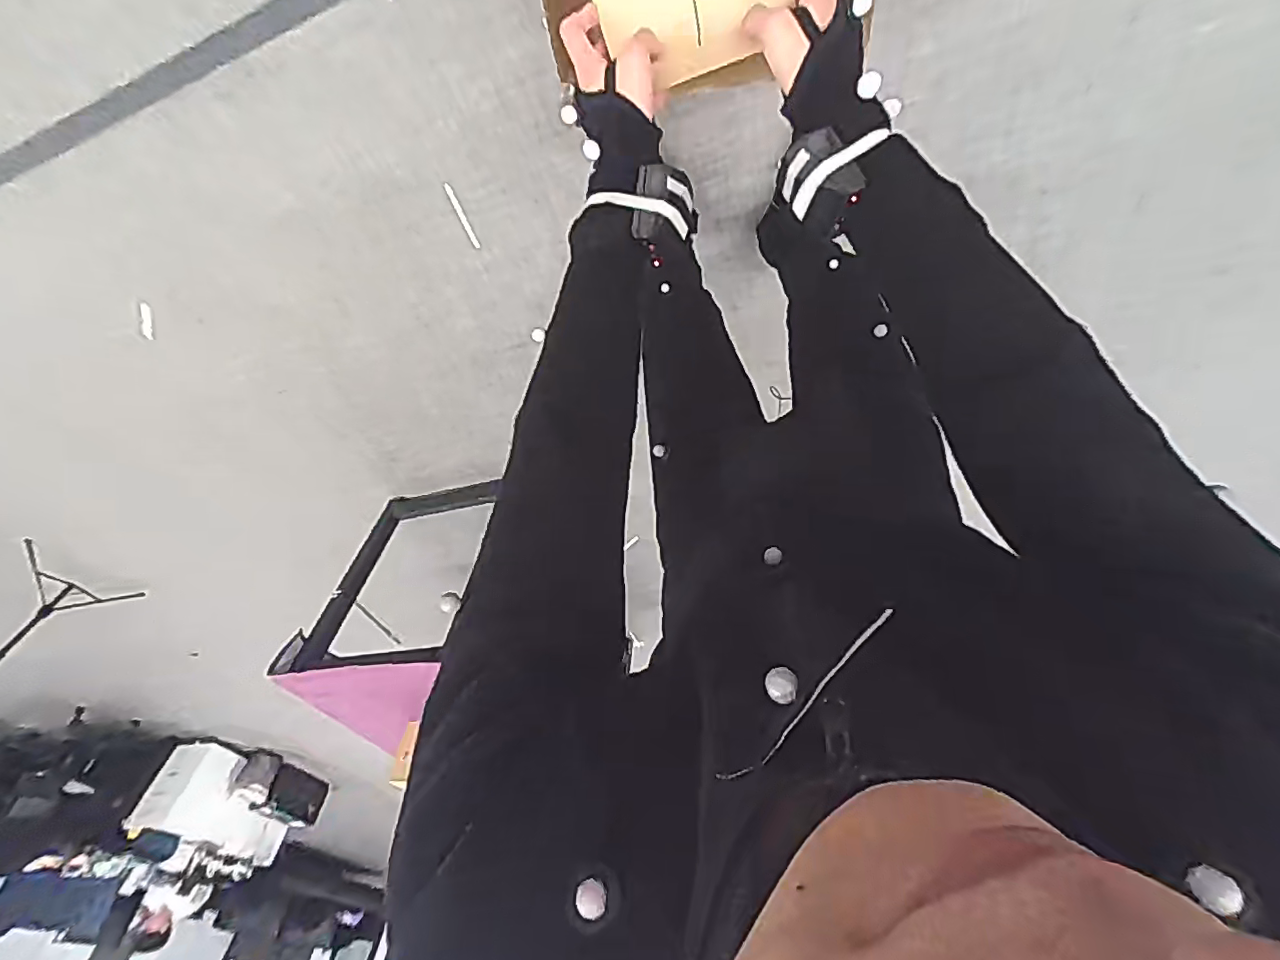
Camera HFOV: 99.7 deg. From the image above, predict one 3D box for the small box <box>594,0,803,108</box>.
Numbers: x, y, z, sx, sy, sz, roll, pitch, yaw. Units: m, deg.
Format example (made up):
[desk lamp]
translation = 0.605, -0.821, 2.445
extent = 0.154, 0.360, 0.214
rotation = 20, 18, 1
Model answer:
[small box]
translation = 0.042, -0.476, 0.477
extent = 0.168, 0.176, 0.179
rotation = -9, 138, 18
